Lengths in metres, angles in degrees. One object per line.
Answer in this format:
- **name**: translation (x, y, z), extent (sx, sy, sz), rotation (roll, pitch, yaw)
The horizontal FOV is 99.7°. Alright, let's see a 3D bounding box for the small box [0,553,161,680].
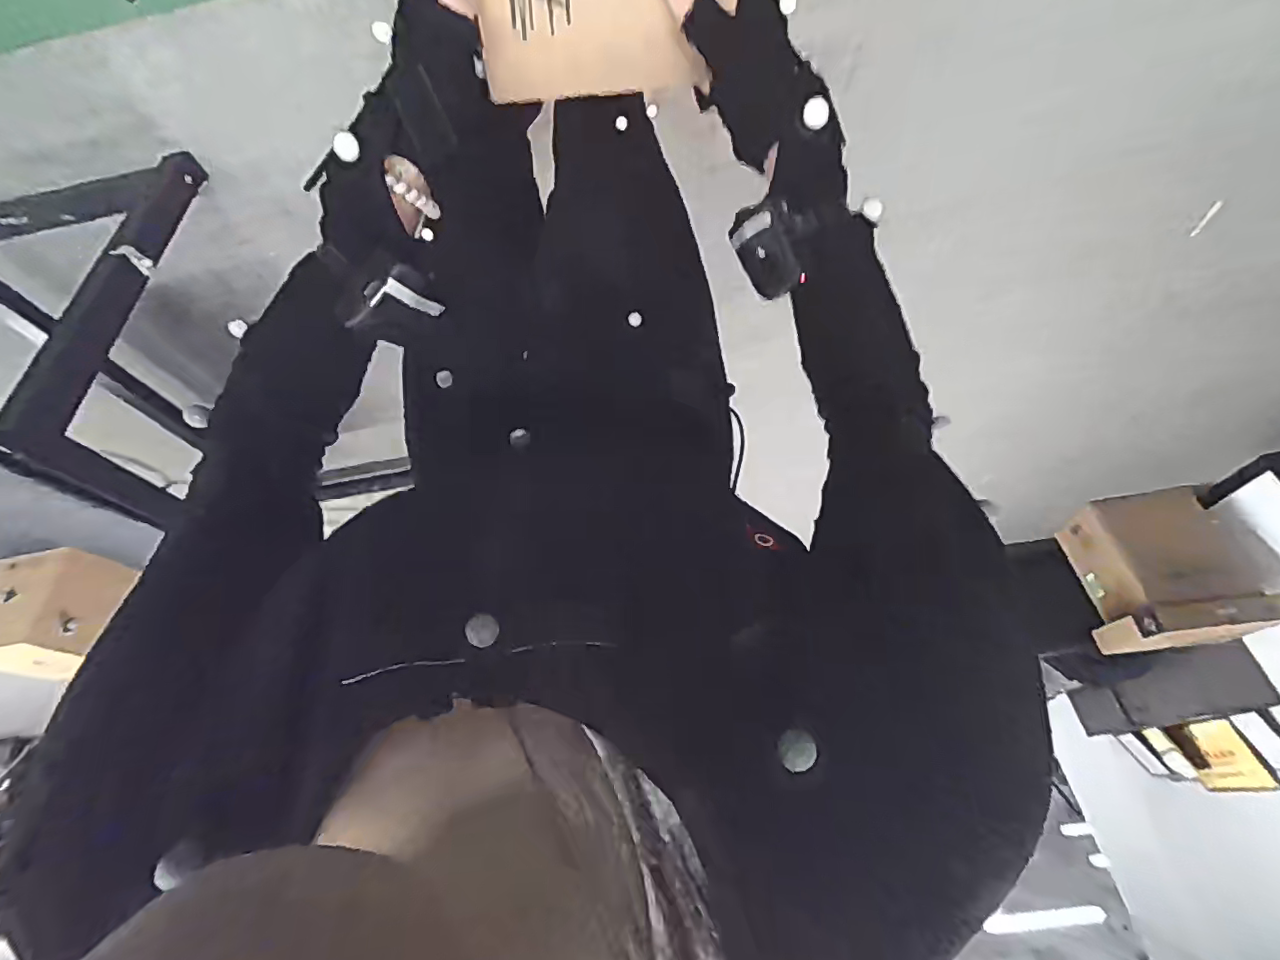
- **small box**: translation (-1.005, 0.234, 0.939), extent (0.168, 0.176, 0.179), rotation (-10, 149, 6)
